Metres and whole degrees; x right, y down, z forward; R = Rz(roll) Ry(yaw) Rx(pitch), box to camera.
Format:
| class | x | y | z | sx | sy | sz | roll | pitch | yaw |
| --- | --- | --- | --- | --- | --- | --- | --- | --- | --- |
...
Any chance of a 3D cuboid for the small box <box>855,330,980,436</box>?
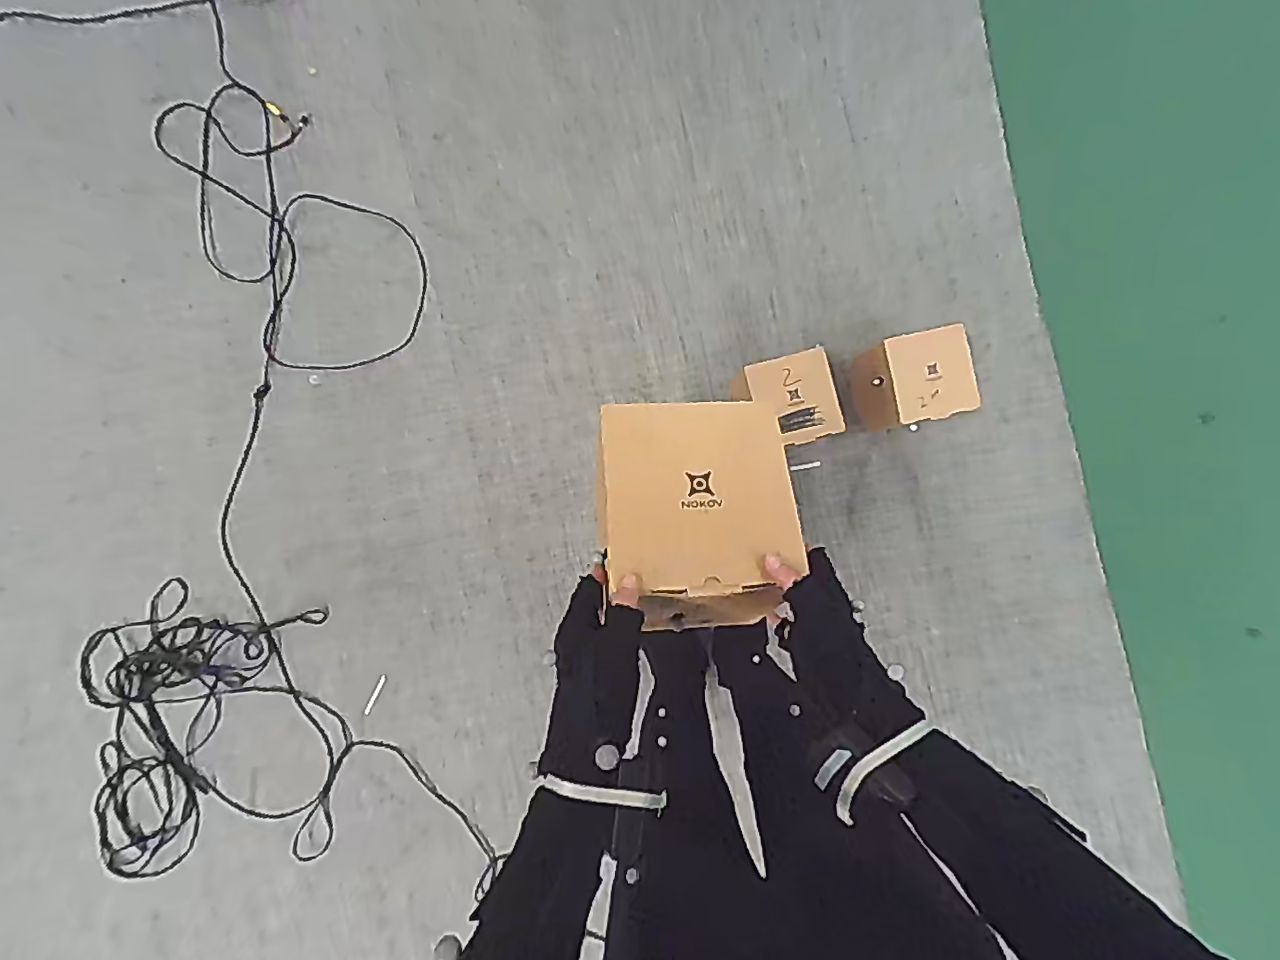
| class | x | y | z | sx | sy | sz | roll | pitch | yaw |
| --- | --- | --- | --- | --- | --- | --- | --- | --- | --- |
| small box | 0.580 | -0.199 | 1.154 | 0.168 | 0.176 | 0.179 | -12 | 90 | 0 |

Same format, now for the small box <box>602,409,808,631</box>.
| class | x | y | z | sx | sy | sz | roll | pitch | yaw |
| --- | --- | --- | --- | --- | --- | --- | --- | --- | --- |
| small box | 0.047 | 0.047 | 0.551 | 0.168 | 0.176 | 0.179 | -3 | 66 | -6 |
